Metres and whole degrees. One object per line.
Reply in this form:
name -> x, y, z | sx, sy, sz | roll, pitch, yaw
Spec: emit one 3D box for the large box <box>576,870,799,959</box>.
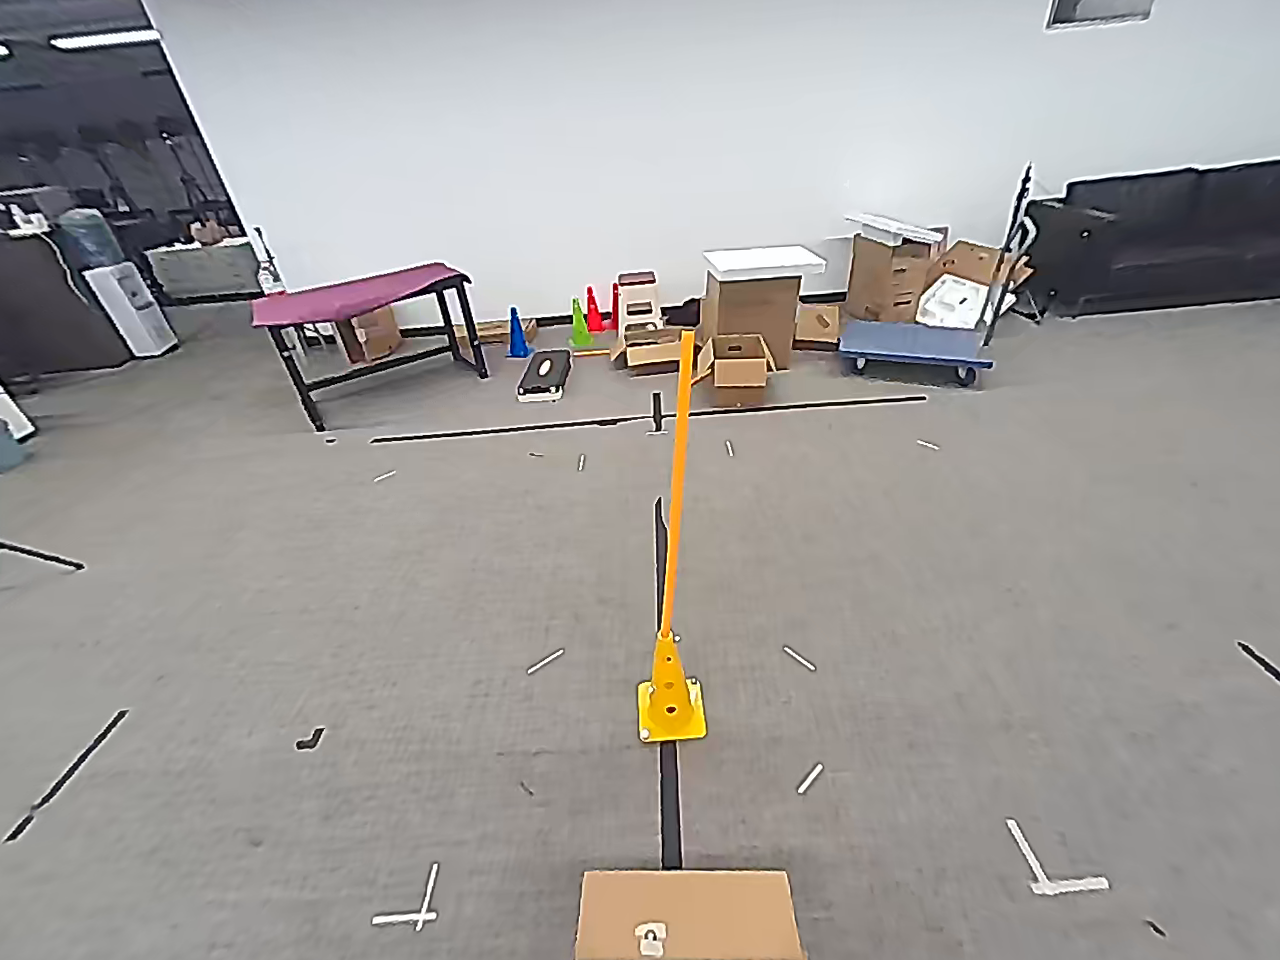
large box -> 0.095, 0.990, 1.024 | 0.408, 0.320, 0.320 | -3, 31, 3
